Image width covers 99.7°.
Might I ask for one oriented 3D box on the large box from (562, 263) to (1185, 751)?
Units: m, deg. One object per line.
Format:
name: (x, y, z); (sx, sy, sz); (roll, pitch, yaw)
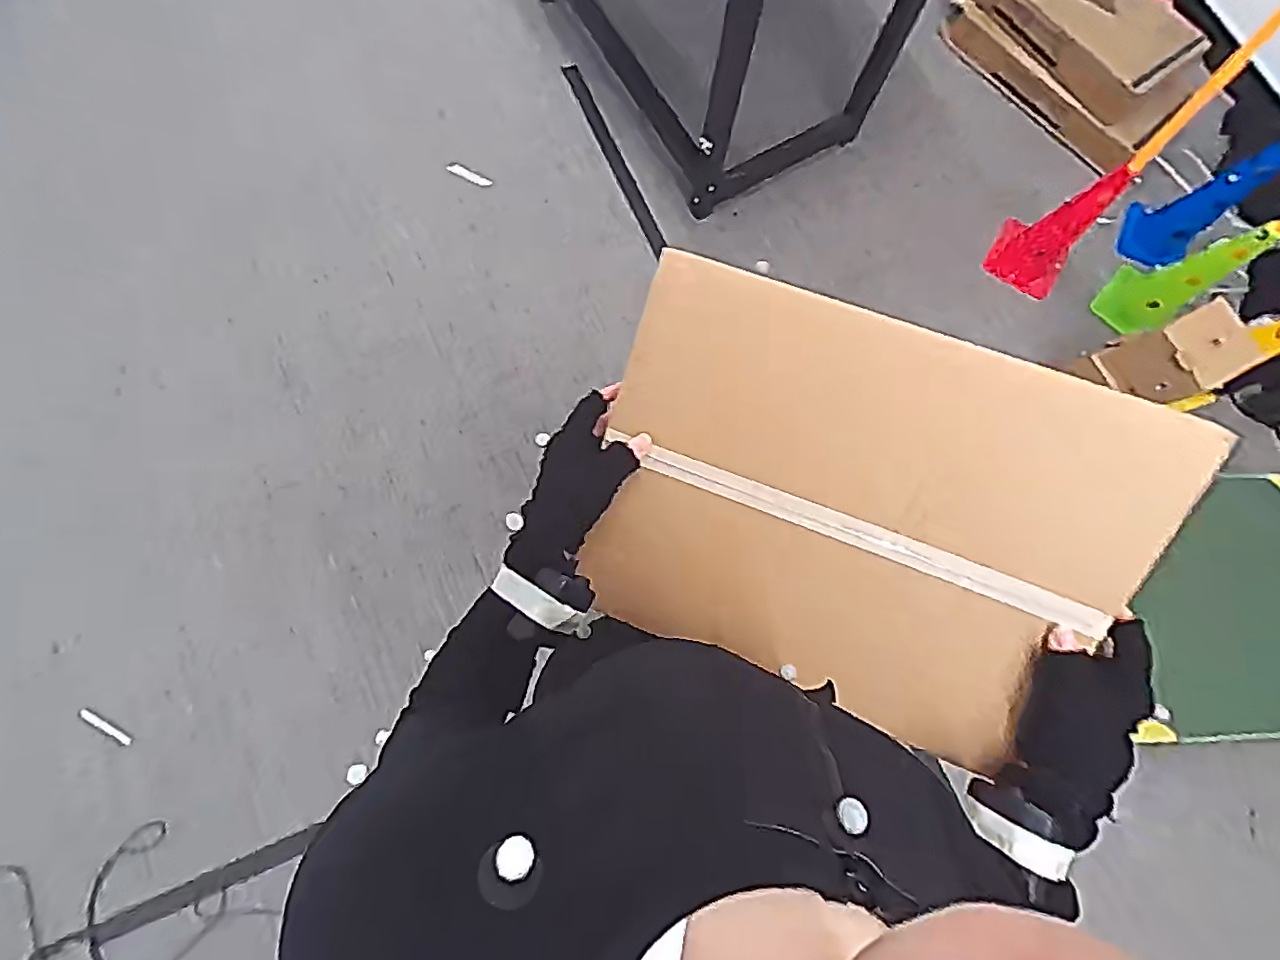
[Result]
large box: (0.181, -0.005, 0.582); (0.408, 0.320, 0.320); (20, 108, 7)
